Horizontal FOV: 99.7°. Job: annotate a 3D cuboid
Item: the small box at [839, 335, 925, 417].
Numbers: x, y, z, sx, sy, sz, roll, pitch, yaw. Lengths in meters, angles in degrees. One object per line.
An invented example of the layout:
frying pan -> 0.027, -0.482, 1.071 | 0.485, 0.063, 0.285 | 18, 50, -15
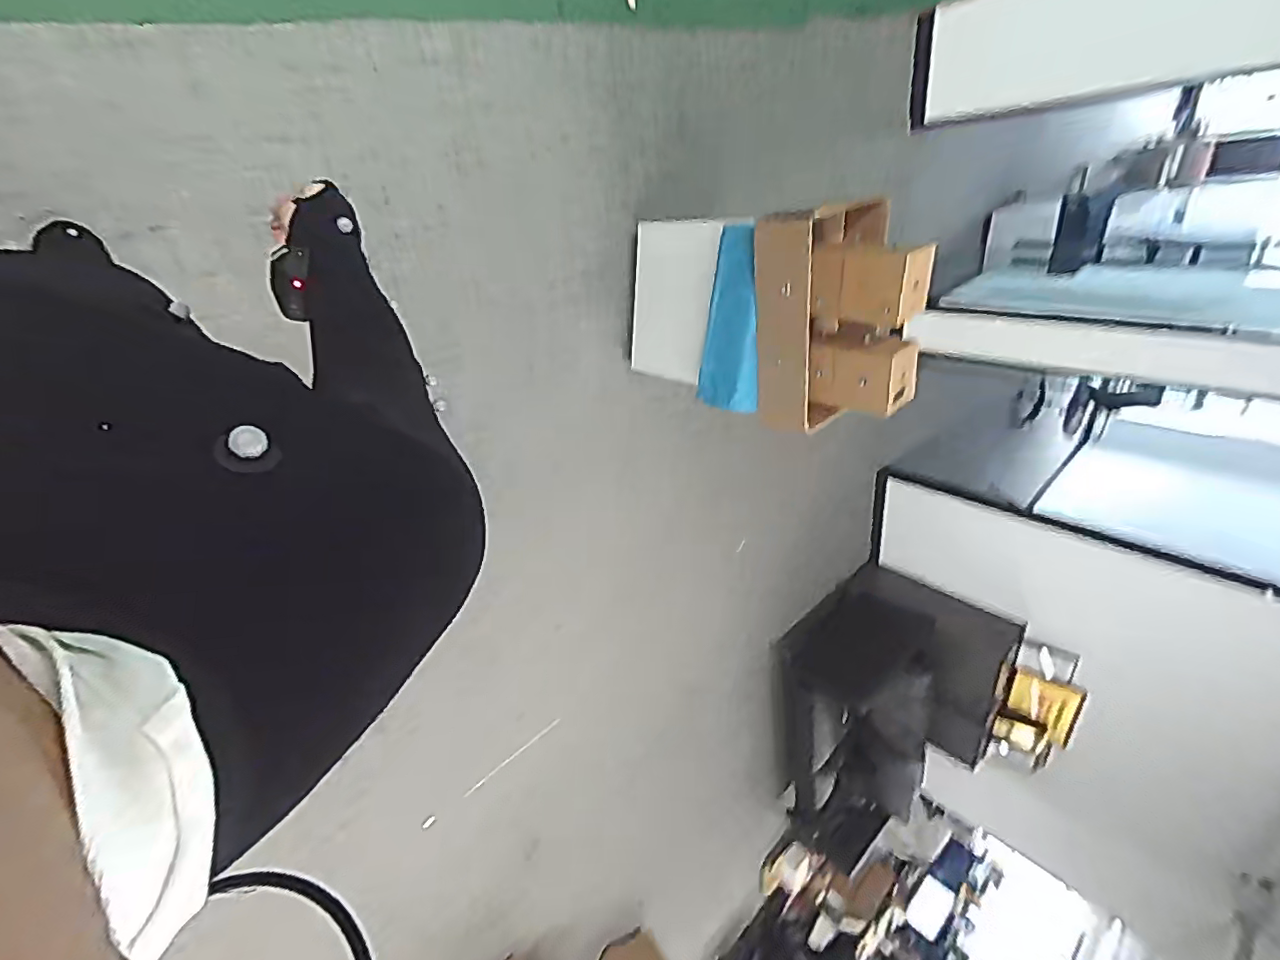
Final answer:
small box -> 0.686, -0.303, 1.550 | 0.168, 0.176, 0.179 | -30, 125, -32

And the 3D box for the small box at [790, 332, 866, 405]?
small box -> 0.575, -0.350, 1.662 | 0.168, 0.176, 0.179 | -29, 124, -33
